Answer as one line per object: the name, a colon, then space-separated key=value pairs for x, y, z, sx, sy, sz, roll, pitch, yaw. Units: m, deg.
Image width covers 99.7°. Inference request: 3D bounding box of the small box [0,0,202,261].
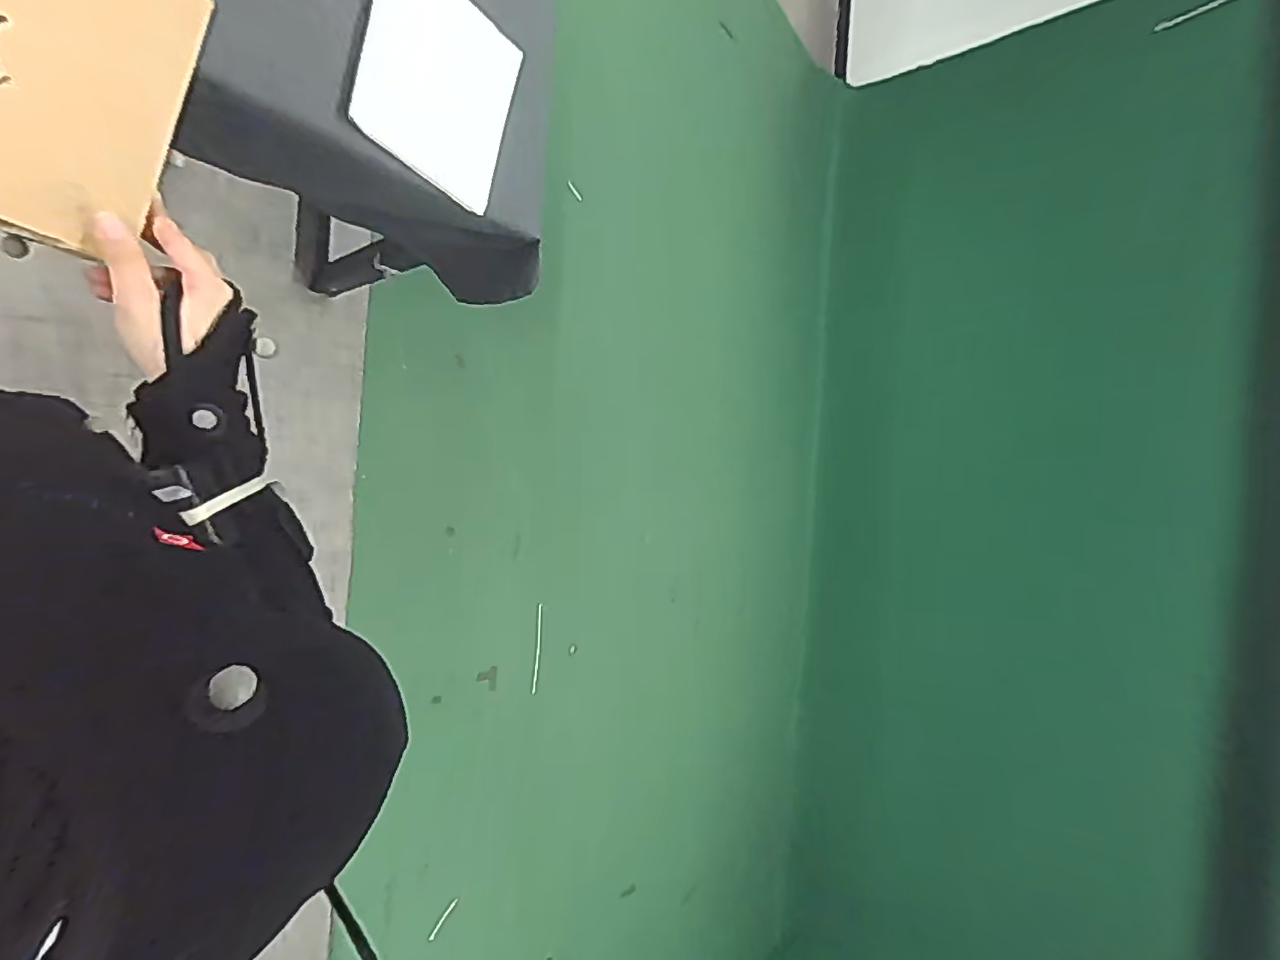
small box: x=-0.399 y=-0.251 z=0.318 sx=0.168 sy=0.176 sz=0.179 roll=16 pitch=93 yaw=-52
